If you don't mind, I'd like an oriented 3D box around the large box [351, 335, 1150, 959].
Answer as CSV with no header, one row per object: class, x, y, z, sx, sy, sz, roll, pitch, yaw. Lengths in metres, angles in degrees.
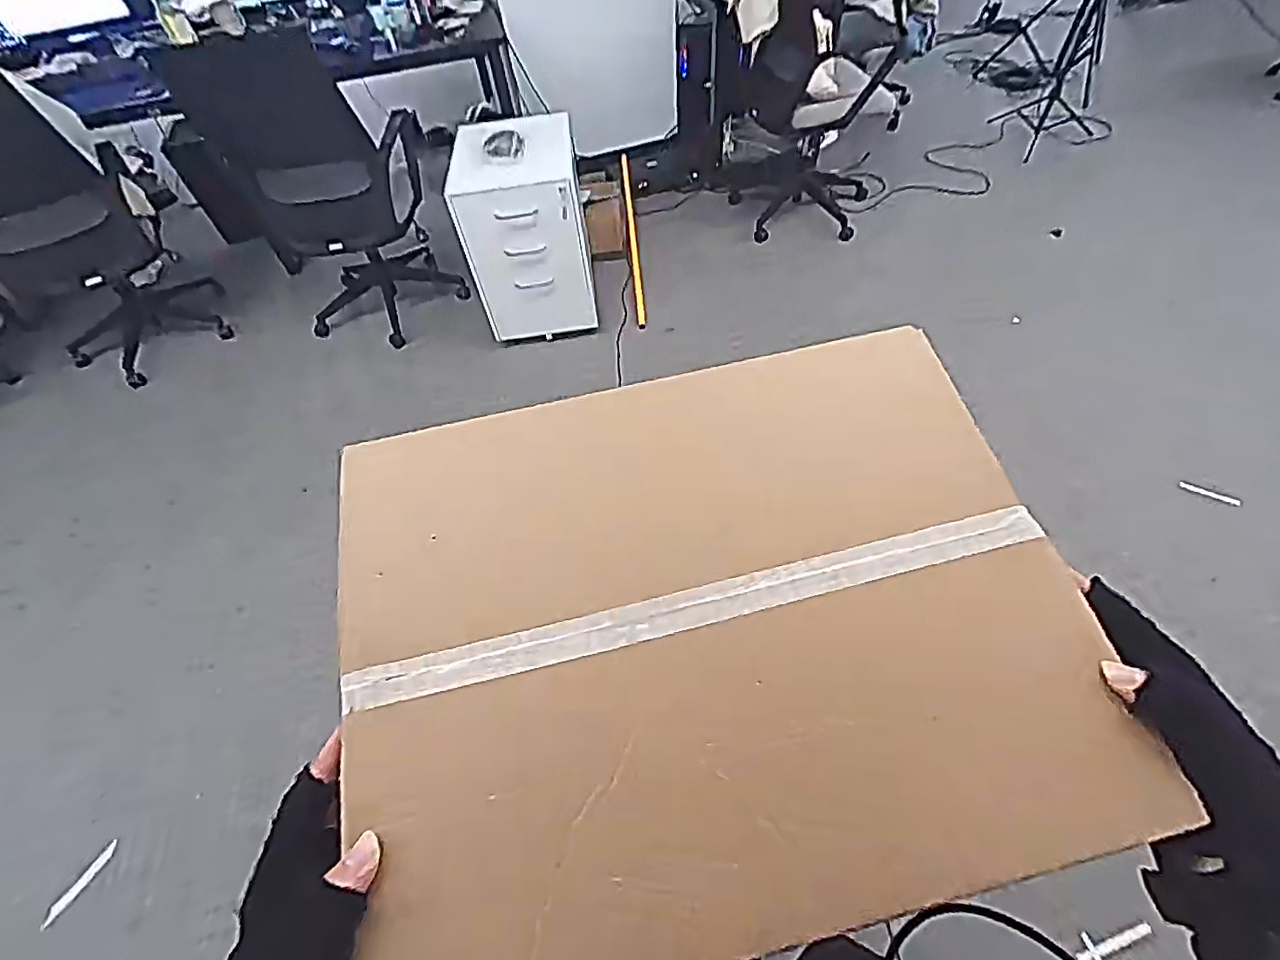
large box,0.040,0.134,0.454,0.408,0.320,0.320,-13,65,-4
